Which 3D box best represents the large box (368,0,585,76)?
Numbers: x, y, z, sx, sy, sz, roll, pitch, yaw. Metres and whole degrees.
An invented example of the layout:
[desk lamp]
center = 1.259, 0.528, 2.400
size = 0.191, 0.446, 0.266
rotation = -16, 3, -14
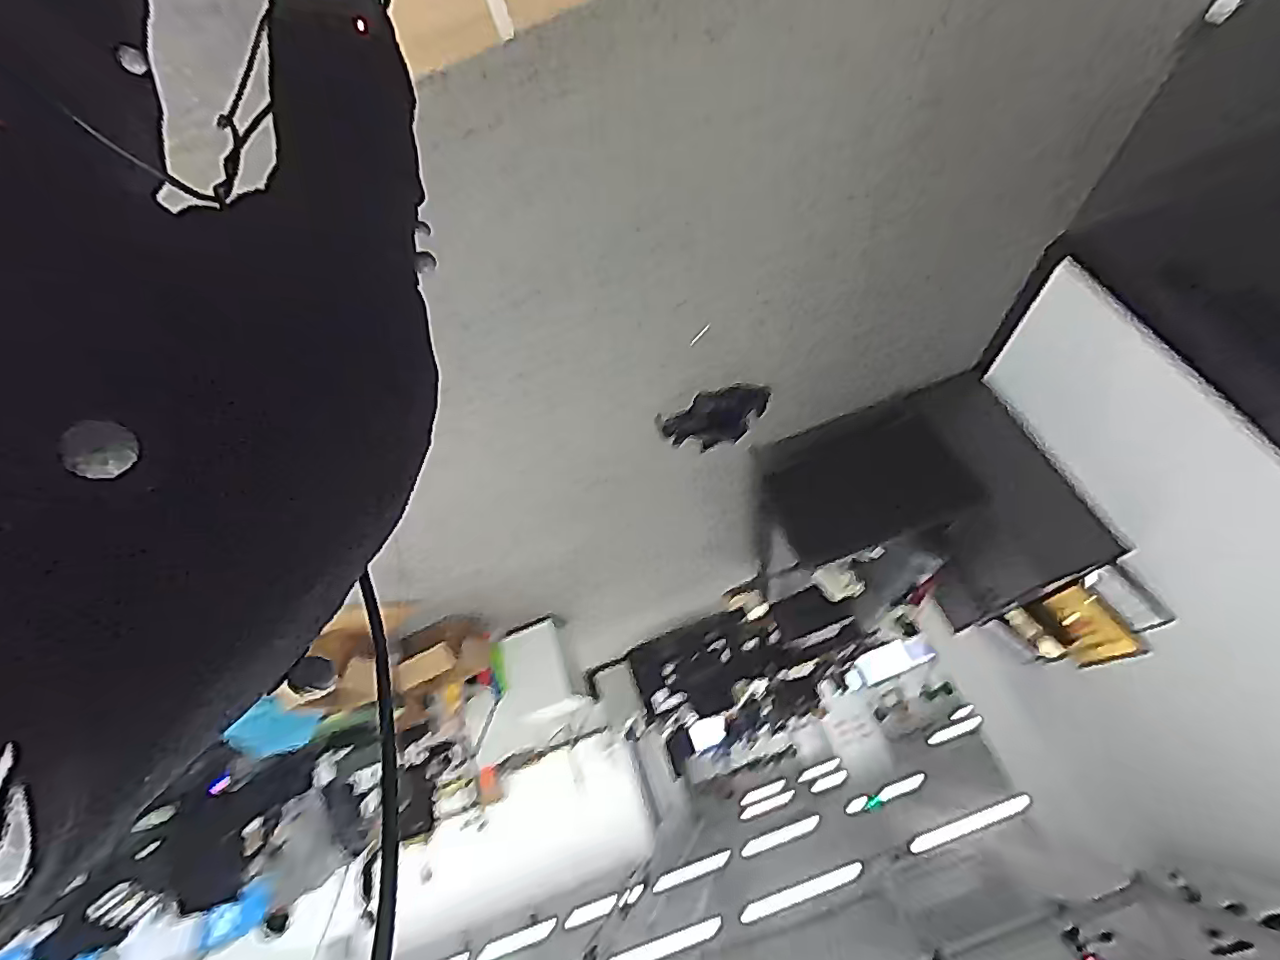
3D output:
[large box]
center = -0.277, -0.836, 0.657
size = 0.320, 0.320, 0.408
rotation = -22, 154, 2
